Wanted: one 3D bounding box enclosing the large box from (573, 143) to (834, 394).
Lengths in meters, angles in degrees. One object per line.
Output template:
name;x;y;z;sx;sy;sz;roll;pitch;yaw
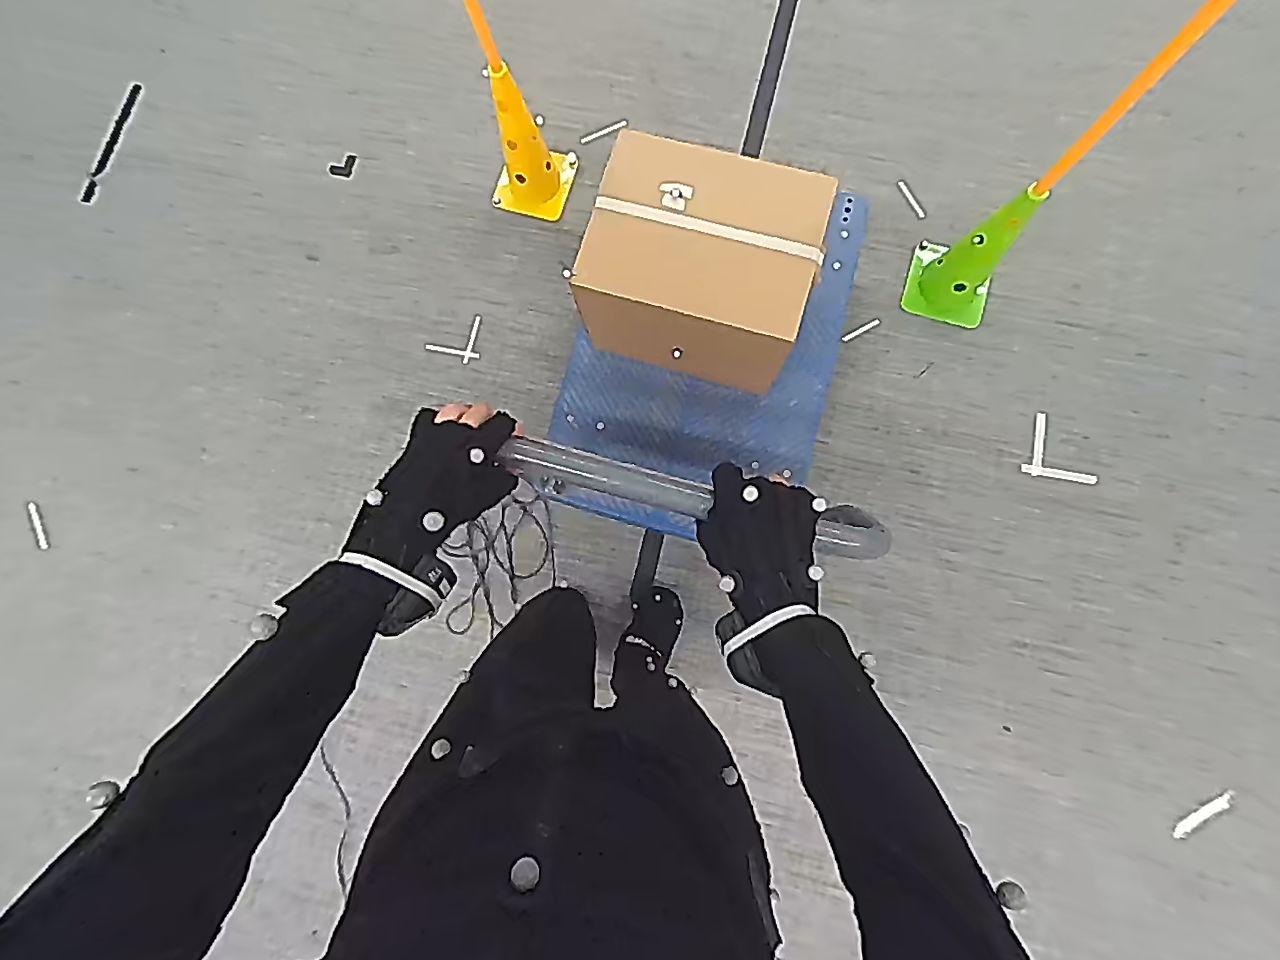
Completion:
large box;0.124;-0.402;1.098;0.408;0.320;0.320;17;83;7

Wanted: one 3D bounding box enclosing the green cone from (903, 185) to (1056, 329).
green cone;0.788;-0.526;1.223;0.202;0.368;0.200;18;83;5
